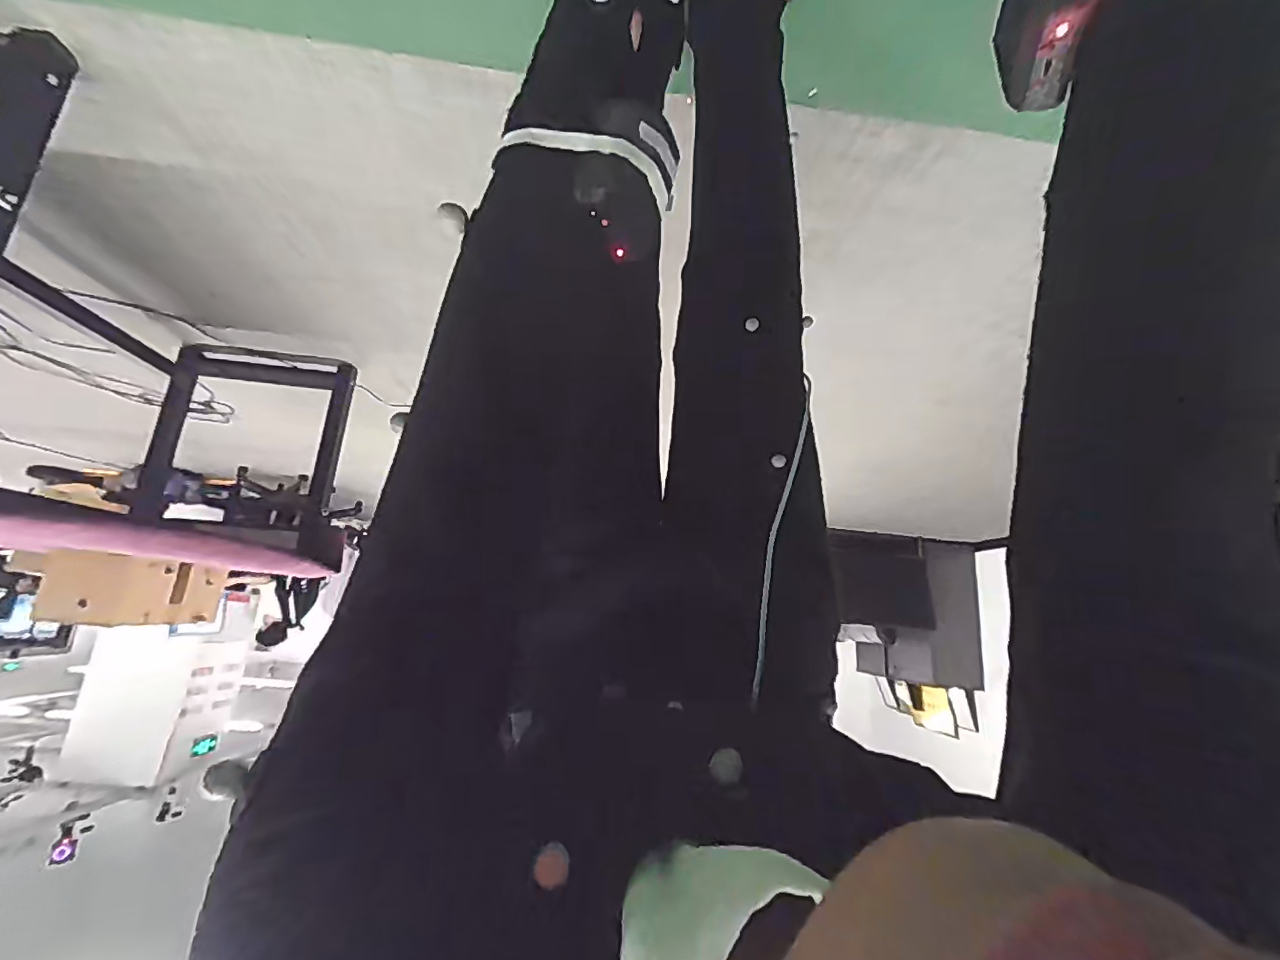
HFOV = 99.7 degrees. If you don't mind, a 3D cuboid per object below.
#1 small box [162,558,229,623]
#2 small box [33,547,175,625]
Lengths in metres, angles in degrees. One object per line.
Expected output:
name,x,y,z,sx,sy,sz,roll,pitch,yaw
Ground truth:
small box,-1.317,0.311,1.527,0.179,0.176,0.168,6,166,-5
small box,-1.289,0.259,1.321,0.179,0.176,0.168,7,165,-5
